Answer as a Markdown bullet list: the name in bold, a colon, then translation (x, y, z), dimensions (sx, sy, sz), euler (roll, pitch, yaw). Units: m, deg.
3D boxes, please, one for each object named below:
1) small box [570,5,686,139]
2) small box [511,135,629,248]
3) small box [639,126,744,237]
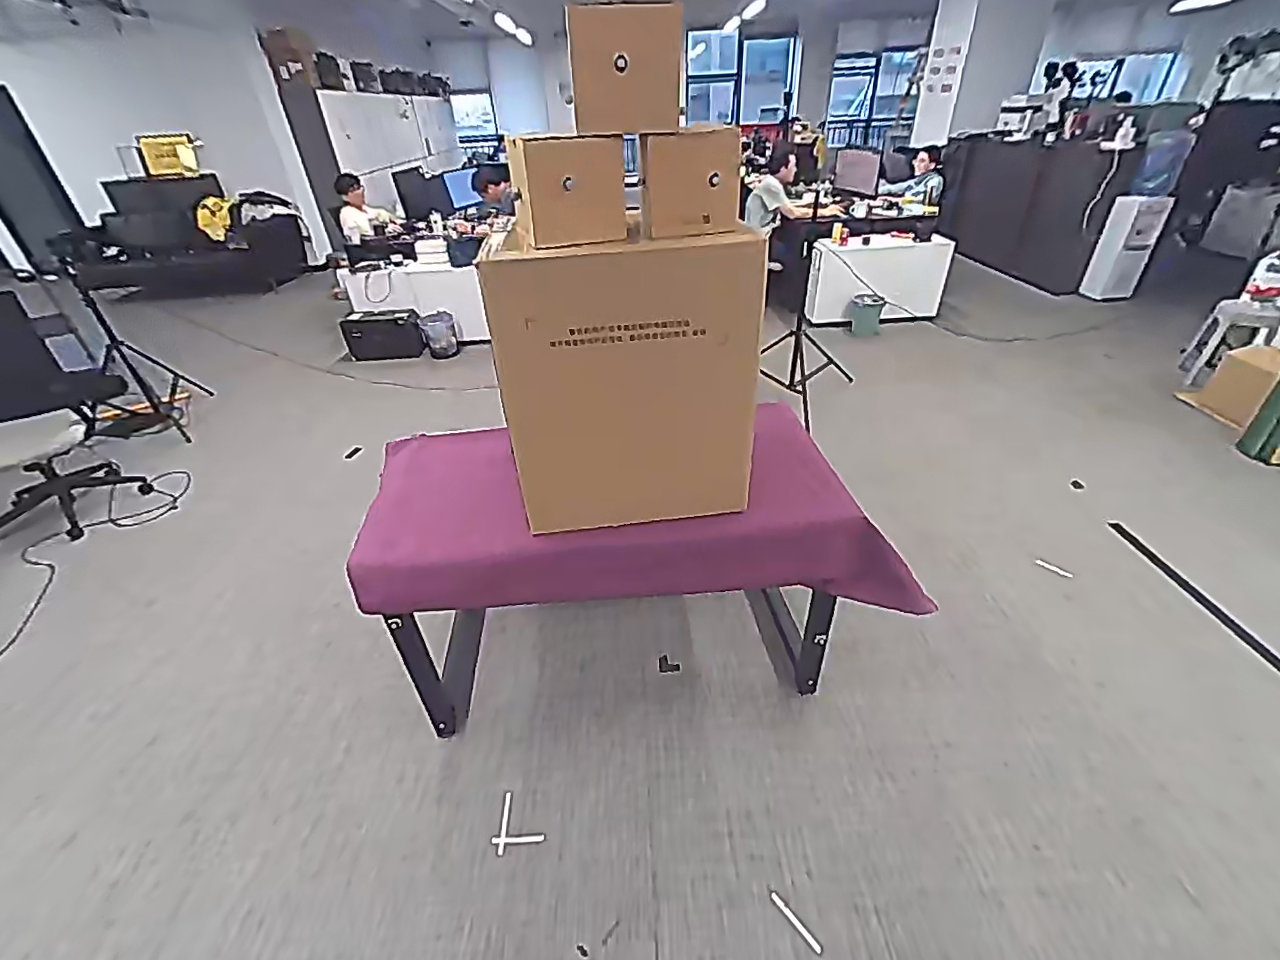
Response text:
- **small box**: translation (-0.020, -0.682, 0.915), dimensions (0.179, 0.176, 0.168), euler (-4, 35, -2)
- **small box**: translation (-0.128, -0.535, 1.001), dimensions (0.179, 0.176, 0.168), euler (-13, 37, -16)
- **small box**: translation (0.093, -0.564, 1.027), dimensions (0.168, 0.176, 0.179), euler (-6, 34, -5)
